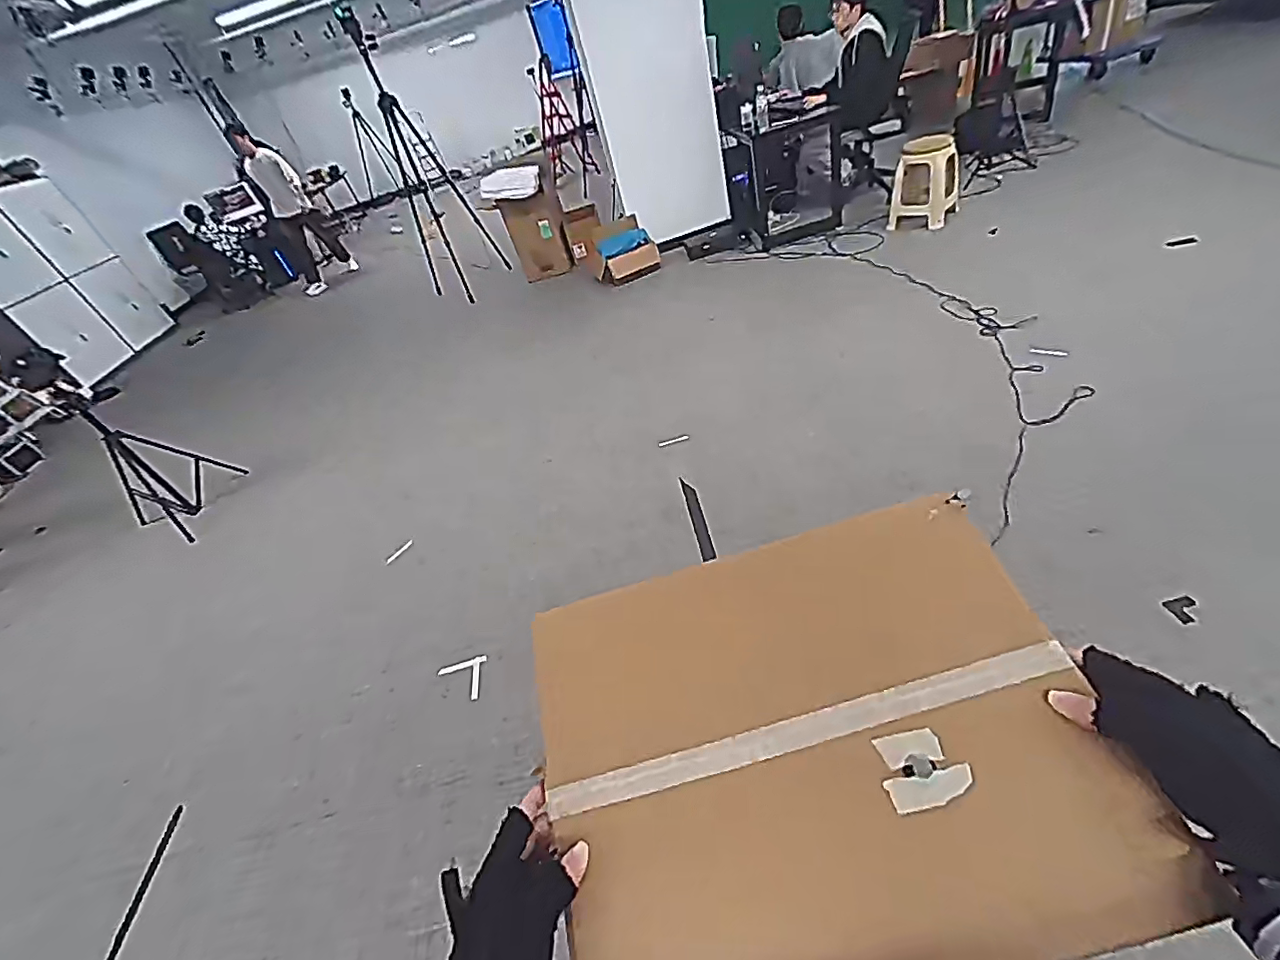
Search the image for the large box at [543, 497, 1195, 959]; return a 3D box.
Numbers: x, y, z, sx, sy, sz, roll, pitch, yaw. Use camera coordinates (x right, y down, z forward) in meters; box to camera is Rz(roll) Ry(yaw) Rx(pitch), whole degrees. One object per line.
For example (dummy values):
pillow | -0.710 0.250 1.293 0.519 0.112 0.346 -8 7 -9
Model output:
large box | 0.157 0.277 0.550 0.408 0.320 0.320 -18 55 2
